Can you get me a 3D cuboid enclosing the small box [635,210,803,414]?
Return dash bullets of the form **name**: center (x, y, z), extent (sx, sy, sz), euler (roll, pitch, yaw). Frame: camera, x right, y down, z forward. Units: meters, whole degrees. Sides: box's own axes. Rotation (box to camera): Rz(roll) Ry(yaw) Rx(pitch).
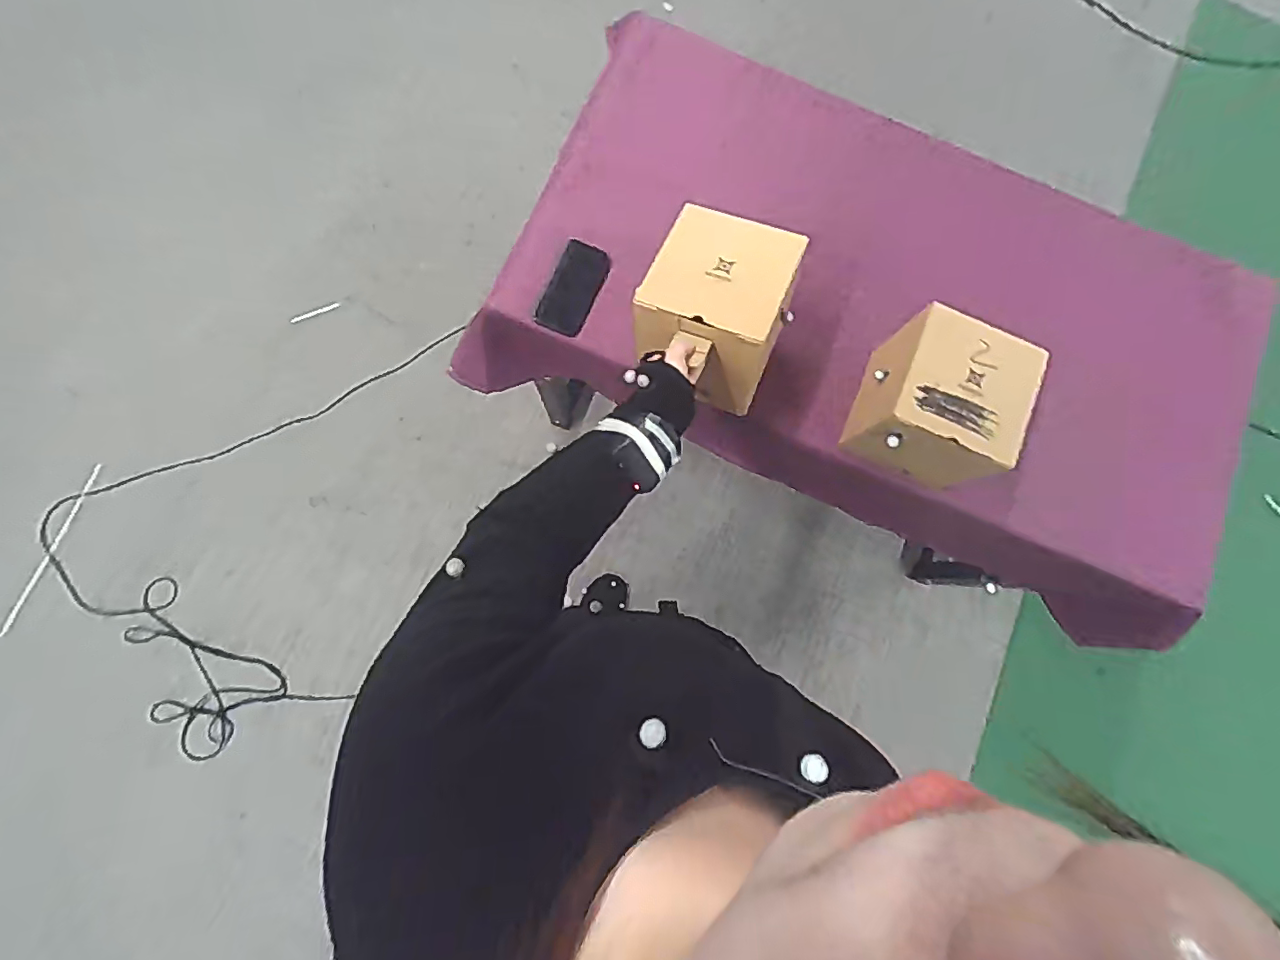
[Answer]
- **small box**: center (0.101, -0.223, 0.742), extent (0.168, 0.176, 0.179), euler (22, 70, 10)
